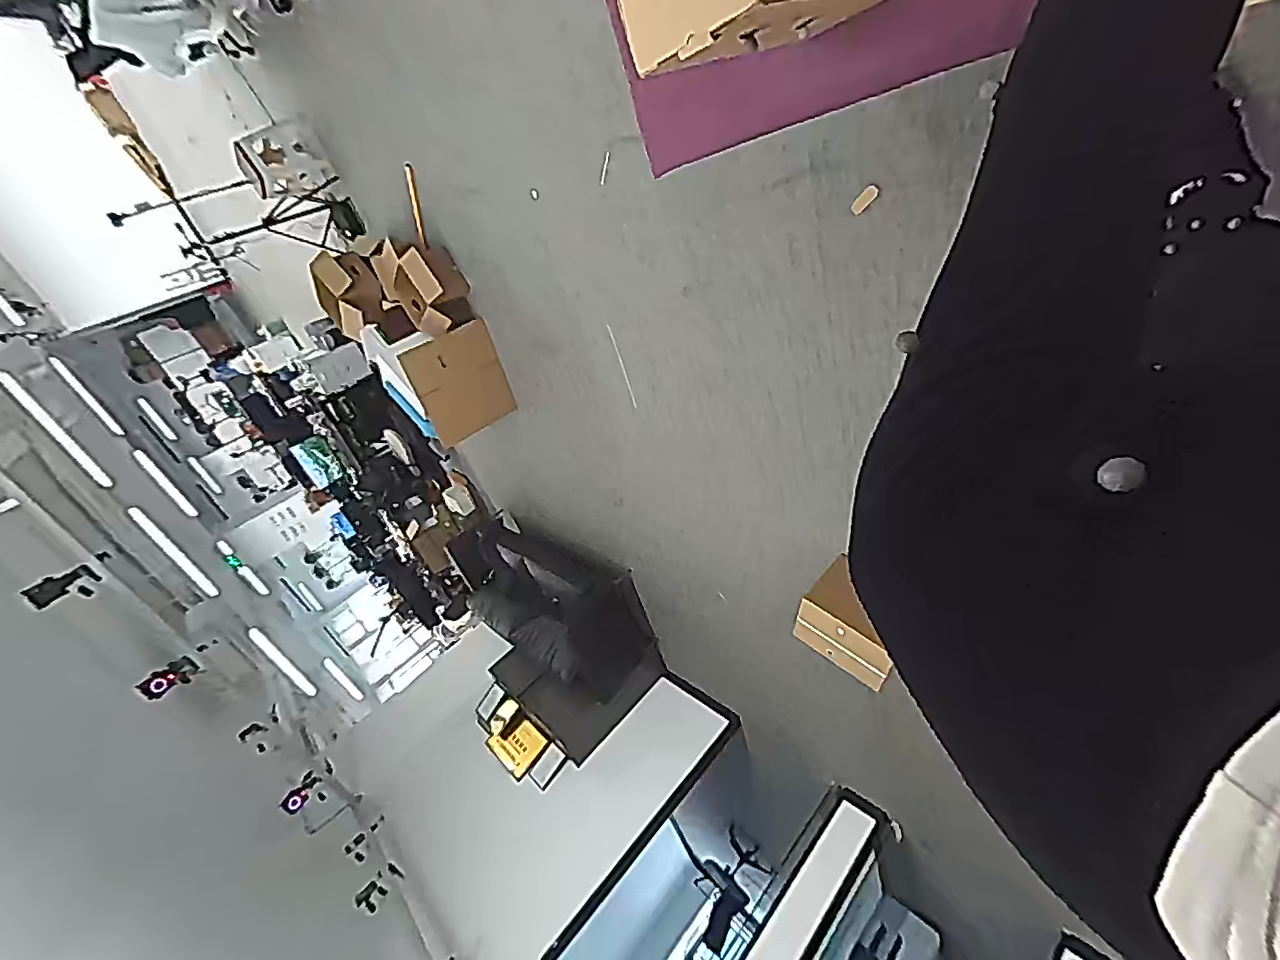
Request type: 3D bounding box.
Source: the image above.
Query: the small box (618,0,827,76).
[{"bbox_3d":[0.081,-0.531,0.517,0.168,0.176,0.179,14,134,47],"label":"small box"}]

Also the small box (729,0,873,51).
[{"bbox_3d":[0.196,-0.616,0.599,0.179,0.176,0.168,13,132,48],"label":"small box"}]
